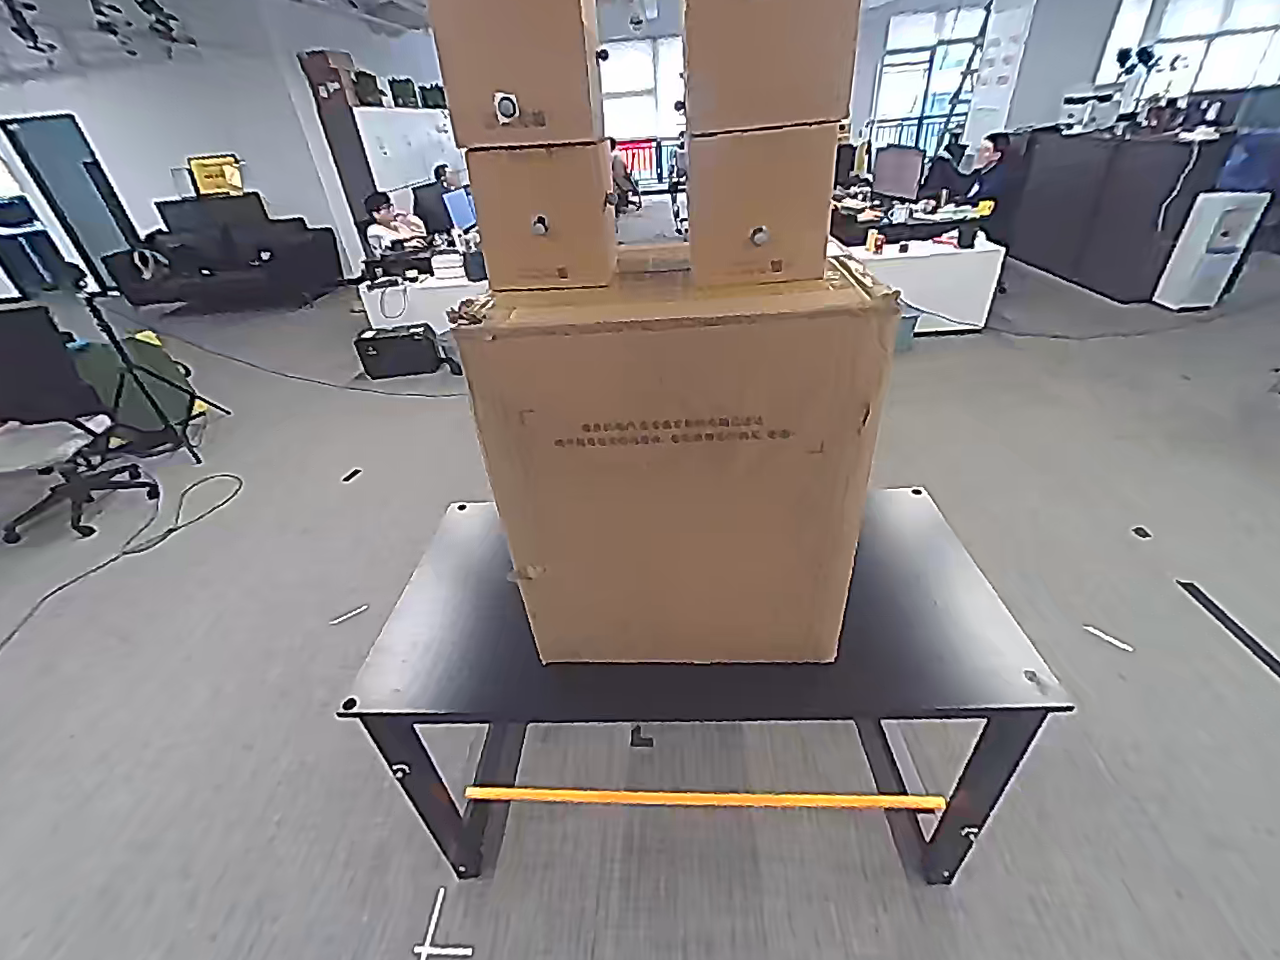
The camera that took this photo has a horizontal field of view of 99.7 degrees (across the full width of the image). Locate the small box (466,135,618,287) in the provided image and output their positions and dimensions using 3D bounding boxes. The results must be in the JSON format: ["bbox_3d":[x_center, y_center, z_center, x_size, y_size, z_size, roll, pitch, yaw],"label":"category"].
[{"bbox_3d":[-0.121,-0.374,0.756,0.168,0.176,0.179,-1,34,3],"label":"small box"}]

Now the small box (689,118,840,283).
[{"bbox_3d":[0.149,-0.365,0.707,0.168,0.176,0.179,-3,34,6],"label":"small box"}]

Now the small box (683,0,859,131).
[{"bbox_3d":[0.139,-0.499,0.611,0.179,0.176,0.168,-2,34,5],"label":"small box"}]

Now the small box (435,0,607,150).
[{"bbox_3d":[-0.132,-0.502,0.654,0.168,0.176,0.179,-3,34,3],"label":"small box"}]
